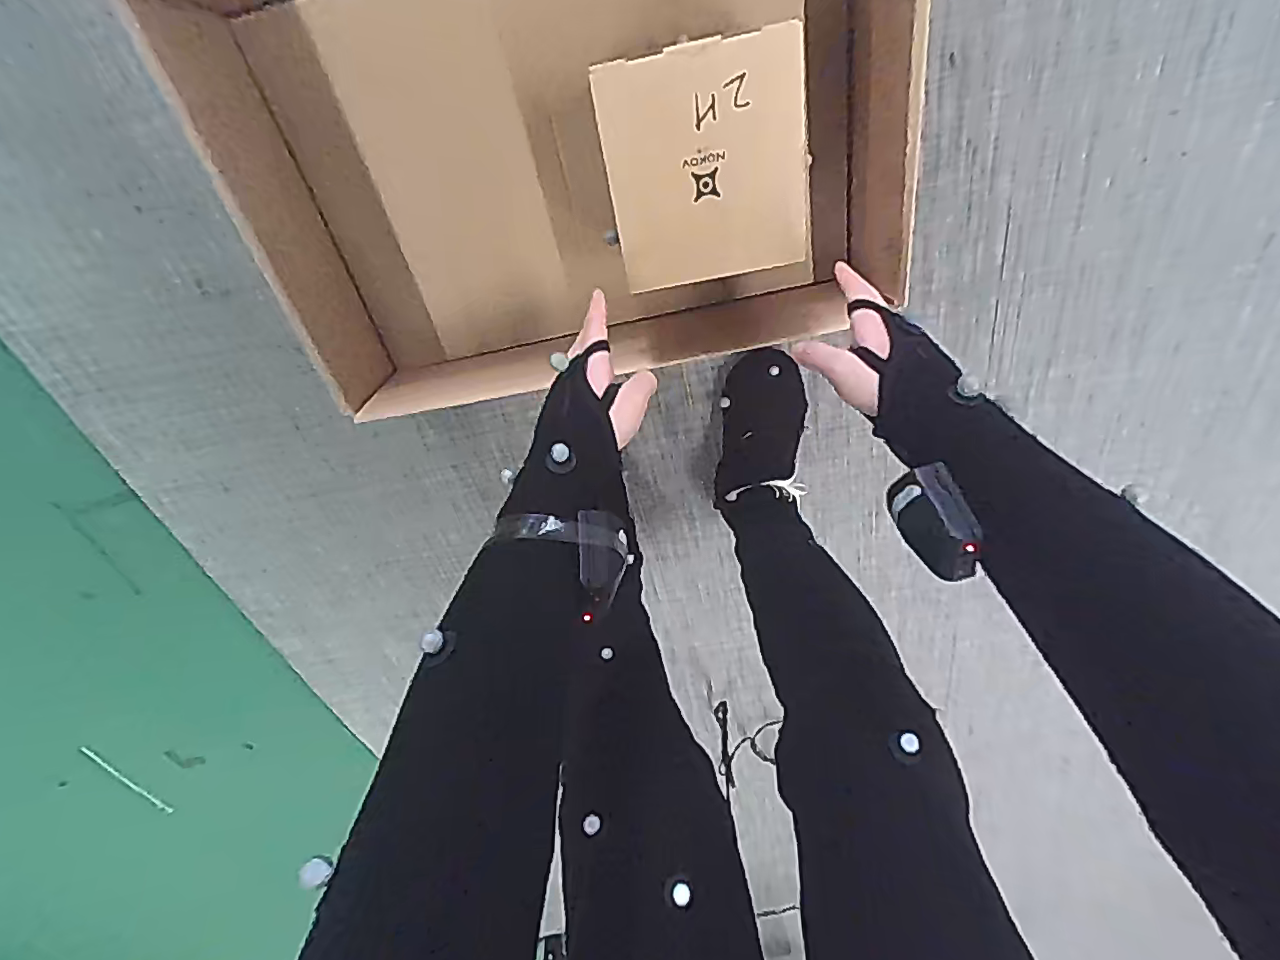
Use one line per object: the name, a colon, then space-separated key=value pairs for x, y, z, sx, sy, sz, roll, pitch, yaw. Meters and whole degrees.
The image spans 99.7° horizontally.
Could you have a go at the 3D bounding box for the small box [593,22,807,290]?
small box: x=0.057 y=-0.304 z=0.520 sx=0.168 sy=0.176 sz=0.179 roll=-8 pitch=123 yaw=5
